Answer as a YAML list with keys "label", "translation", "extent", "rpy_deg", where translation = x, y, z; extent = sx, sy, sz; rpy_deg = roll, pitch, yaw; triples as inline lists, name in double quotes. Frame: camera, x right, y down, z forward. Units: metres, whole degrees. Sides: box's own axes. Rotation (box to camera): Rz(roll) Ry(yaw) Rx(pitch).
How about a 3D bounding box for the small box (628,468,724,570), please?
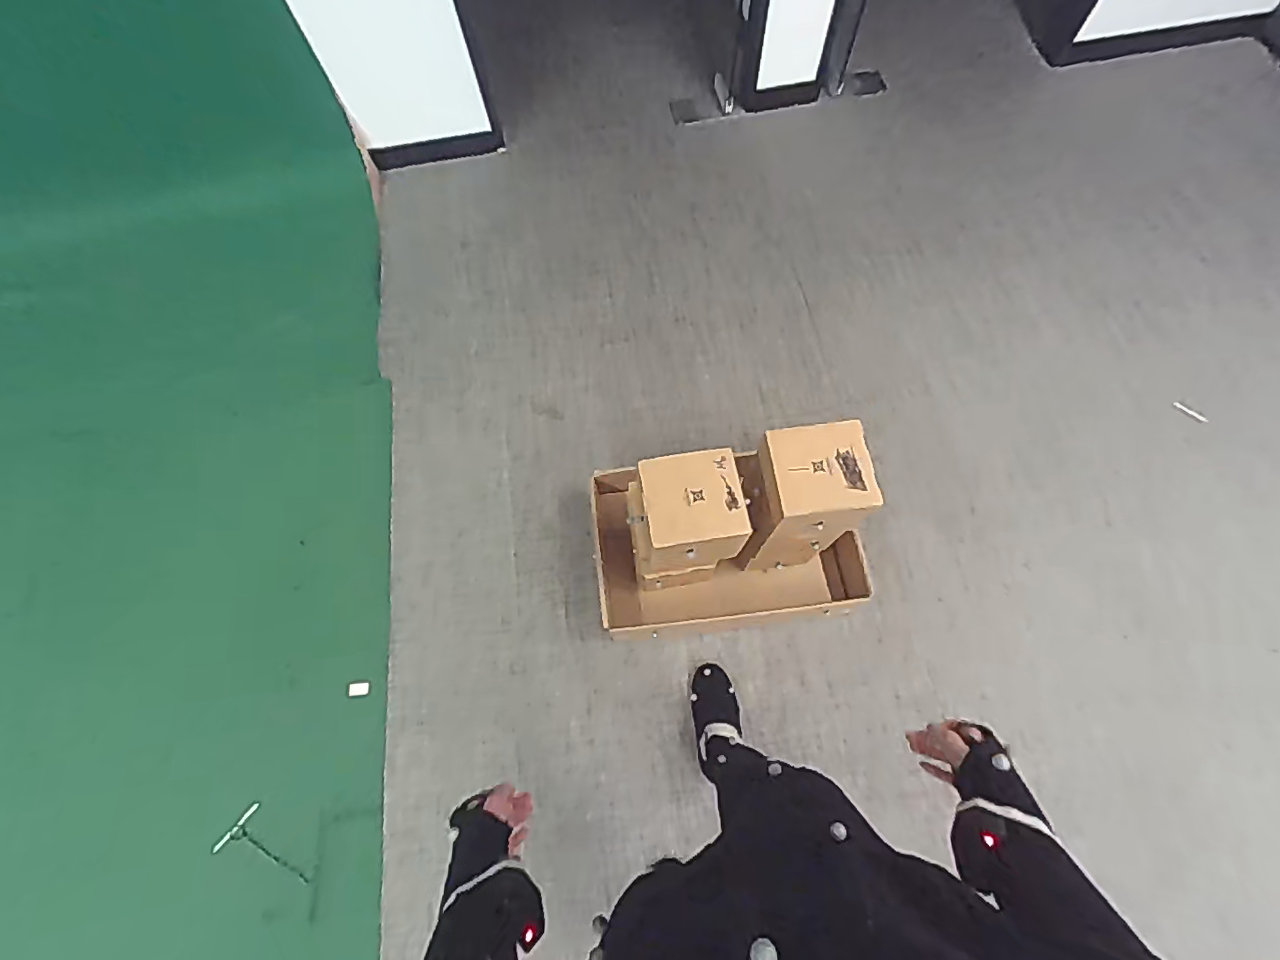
- label: "small box"
  translation: [0.074, 0.091, 1.179]
  extent: [0.179, 0.176, 0.168]
  rpy_deg: [-9, 69, -3]

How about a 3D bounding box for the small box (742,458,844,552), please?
- label: "small box"
  translation: [0.324, 0.053, 1.181]
  extent: [0.168, 0.176, 0.179]
  rpy_deg: [-7, 69, 0]

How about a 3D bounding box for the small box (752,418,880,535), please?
- label: "small box"
  translation: [0.323, -0.001, 1.026]
  extent: [0.179, 0.176, 0.168]
  rpy_deg: [-7, 69, 1]
